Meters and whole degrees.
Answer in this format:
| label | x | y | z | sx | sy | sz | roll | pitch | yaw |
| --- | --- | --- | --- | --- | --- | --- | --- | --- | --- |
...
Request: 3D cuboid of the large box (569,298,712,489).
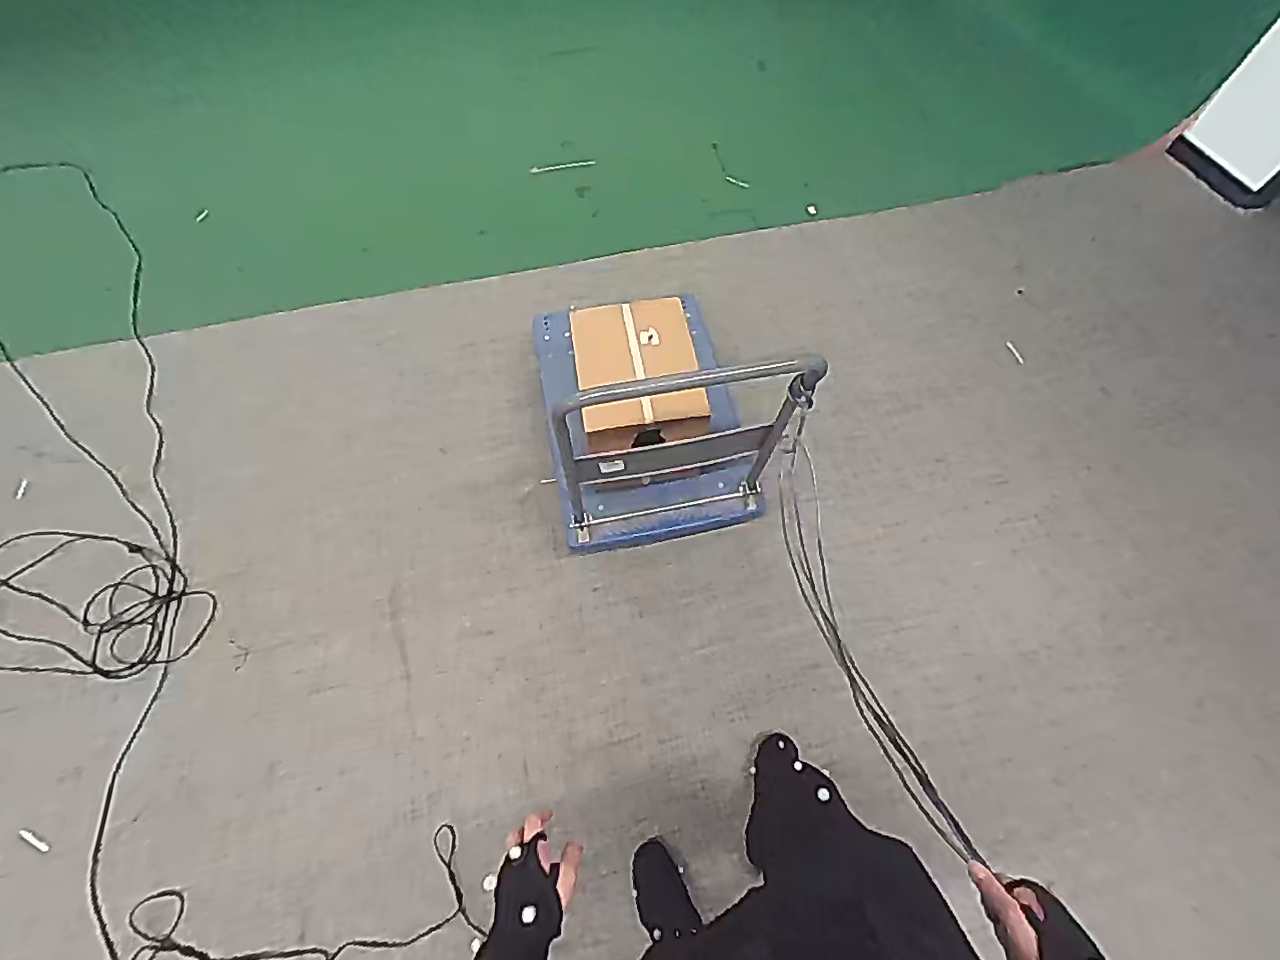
| label | x | y | z | sx | sy | sz | roll | pitch | yaw |
| --- | --- | --- | --- | --- | --- | --- | --- | --- | --- |
| large box | -0.007 | -0.236 | 1.510 | 0.320 | 0.320 | 0.408 | -8 | 62 | -5 |
